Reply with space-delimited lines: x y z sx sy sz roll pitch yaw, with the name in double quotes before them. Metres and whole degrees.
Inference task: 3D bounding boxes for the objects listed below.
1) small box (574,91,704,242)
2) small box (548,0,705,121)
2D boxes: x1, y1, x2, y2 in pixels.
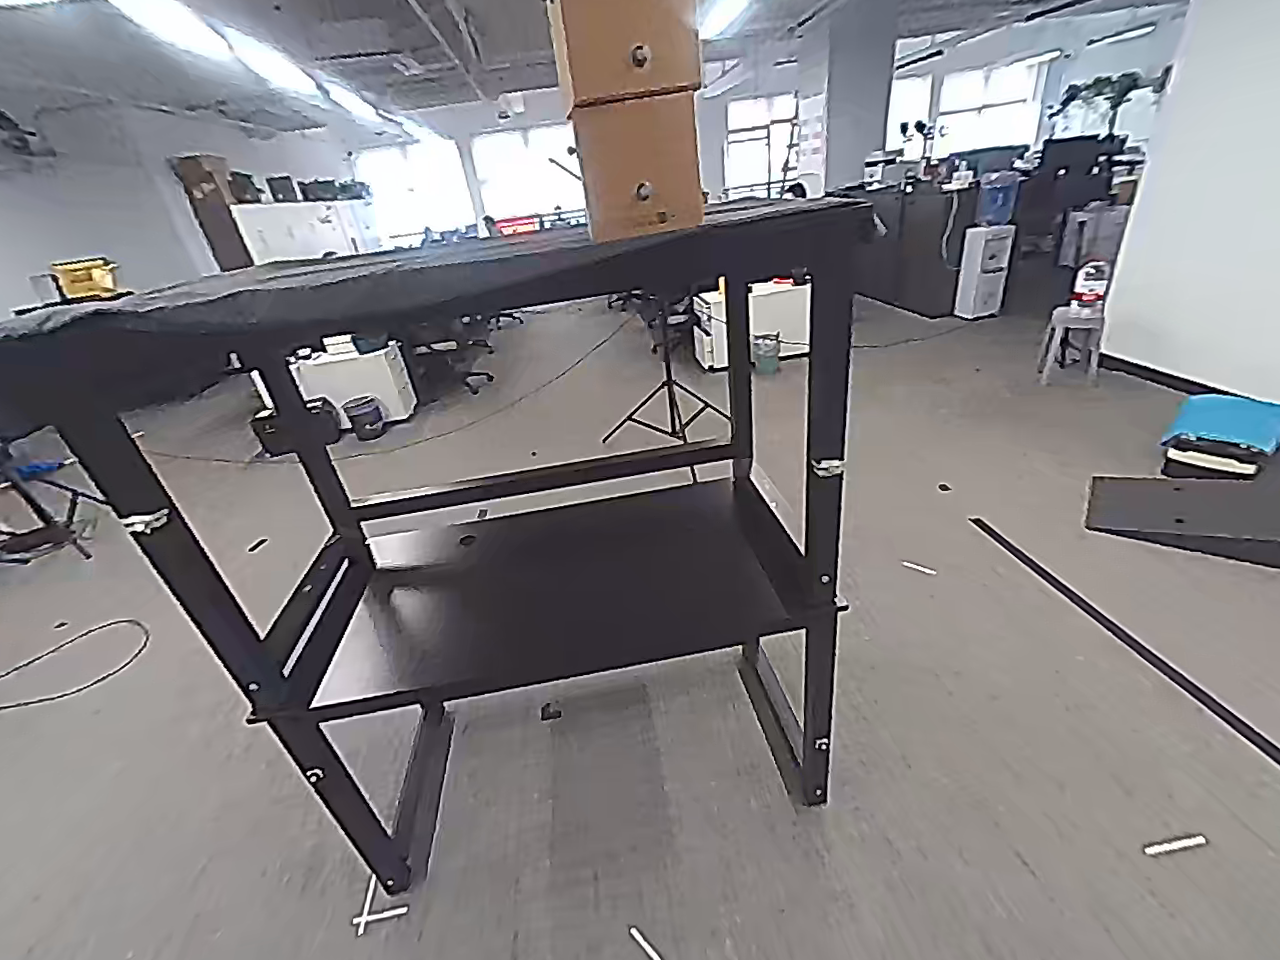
"small box" -0.004 -0.464 0.820 0.168 0.176 0.179 -10 28 -2
"small box" -0.023 -0.605 0.731 0.179 0.176 0.168 -11 28 -6
